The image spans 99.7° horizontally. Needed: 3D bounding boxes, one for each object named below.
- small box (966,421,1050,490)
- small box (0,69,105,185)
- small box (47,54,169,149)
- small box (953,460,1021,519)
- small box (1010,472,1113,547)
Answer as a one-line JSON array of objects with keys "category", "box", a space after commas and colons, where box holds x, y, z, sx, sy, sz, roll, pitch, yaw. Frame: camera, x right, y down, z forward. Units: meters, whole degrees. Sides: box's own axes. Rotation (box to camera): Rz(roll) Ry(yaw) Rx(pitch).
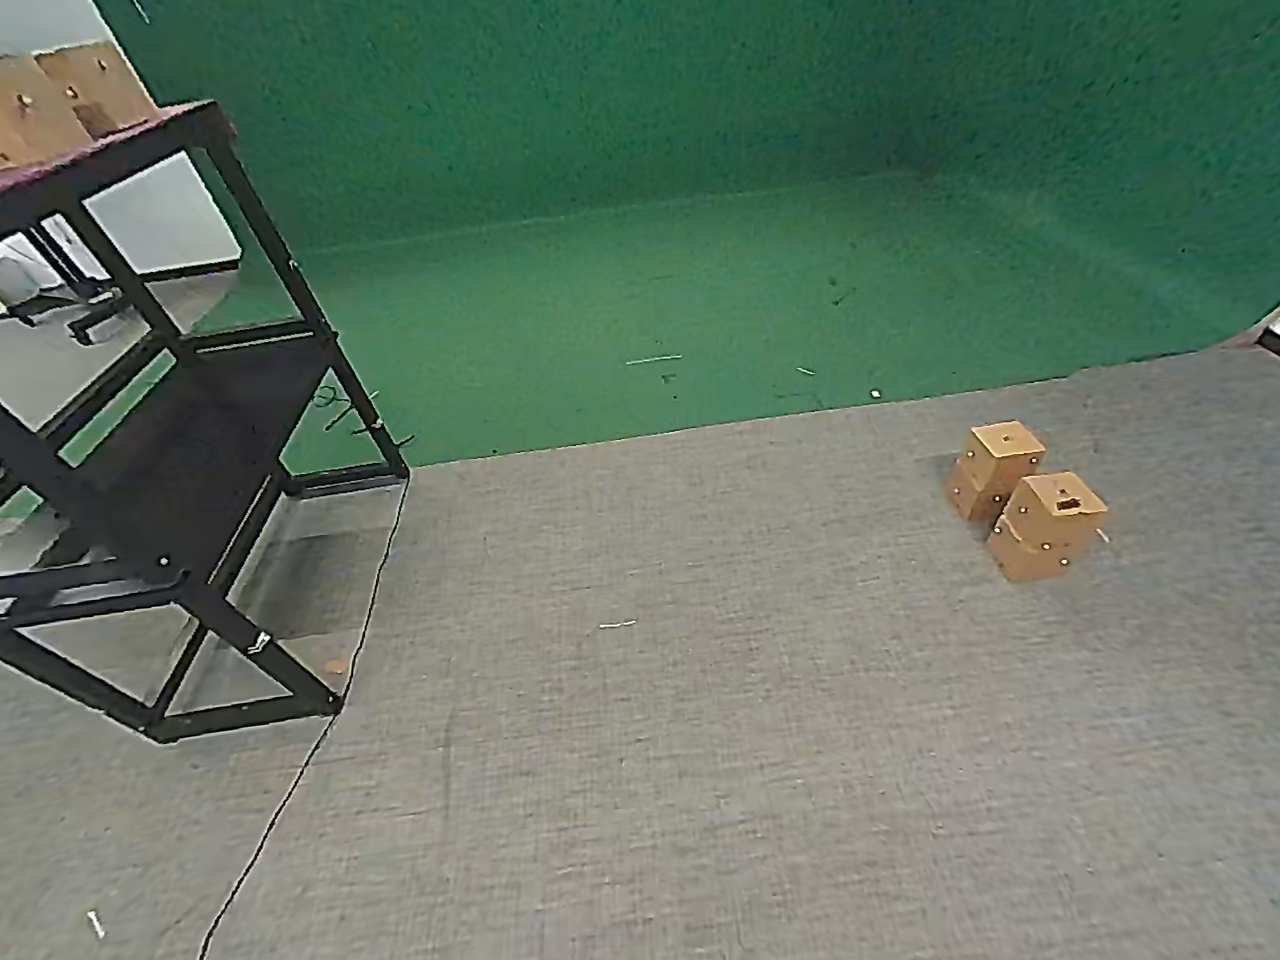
[{"category": "small box", "box": [1.283, -0.082, 1.907, 0.179, 0.176, 0.168, -8, 43, 0]}, {"category": "small box", "box": [-1.330, -0.751, 1.160, 0.168, 0.176, 0.179, -8, 45, 2]}, {"category": "small box", "box": [-1.376, -0.960, 1.384, 0.168, 0.176, 0.179, -7, 44, 4]}, {"category": "small box", "box": [1.302, 0.032, 2.020, 0.179, 0.176, 0.168, -7, 44, 3]}, {"category": "small box", "box": [1.321, 0.100, 1.709, 0.168, 0.176, 0.179, -5, 43, 2]}]
